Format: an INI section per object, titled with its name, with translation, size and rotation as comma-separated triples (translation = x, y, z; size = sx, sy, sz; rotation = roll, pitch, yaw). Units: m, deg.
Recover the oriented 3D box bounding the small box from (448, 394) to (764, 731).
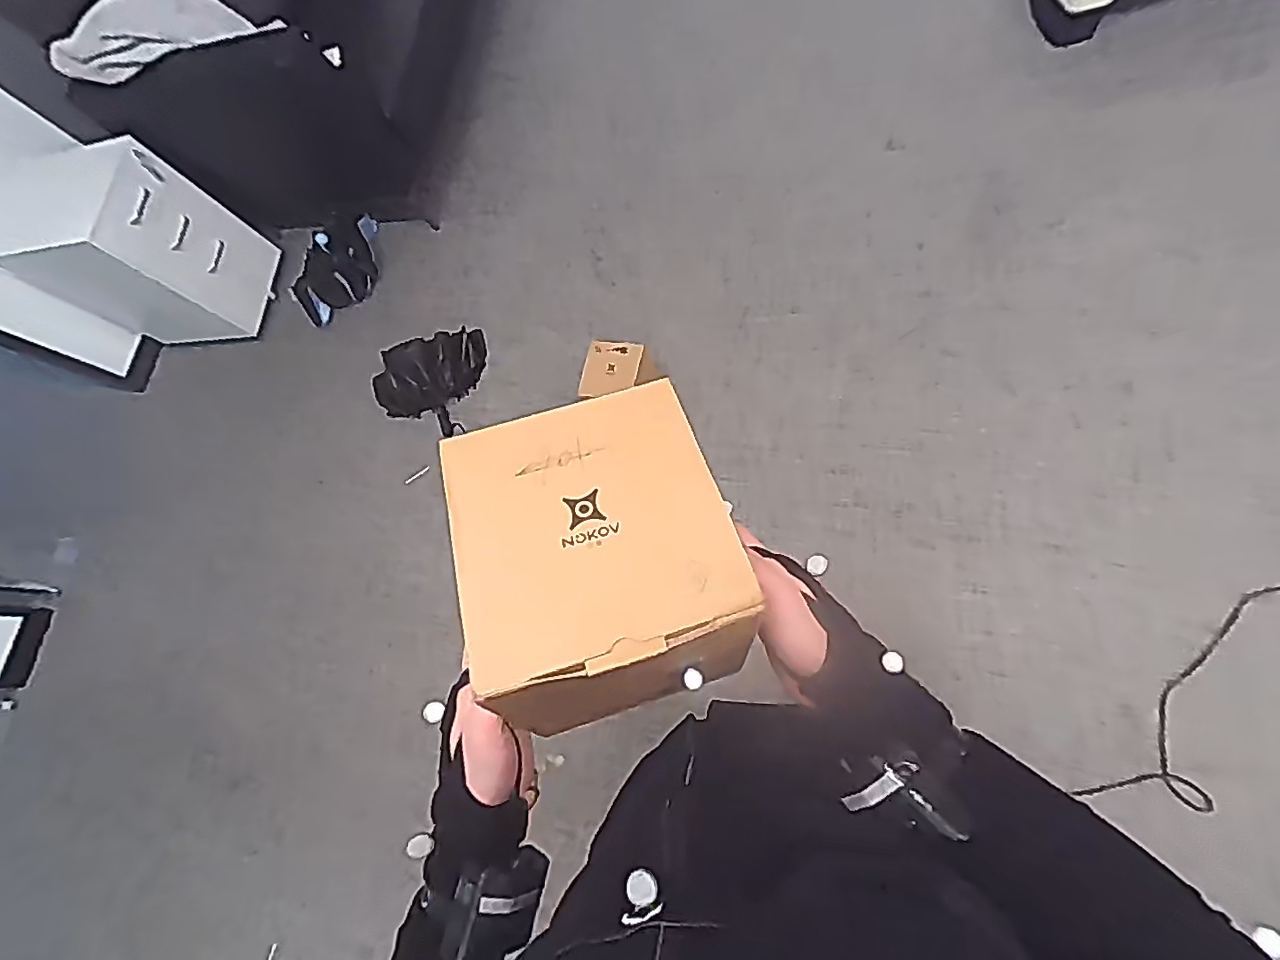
[small box]
translation = -0.025, 0.071, 0.402
size = 0.168, 0.176, 0.179
rotation = -16, 58, -6
